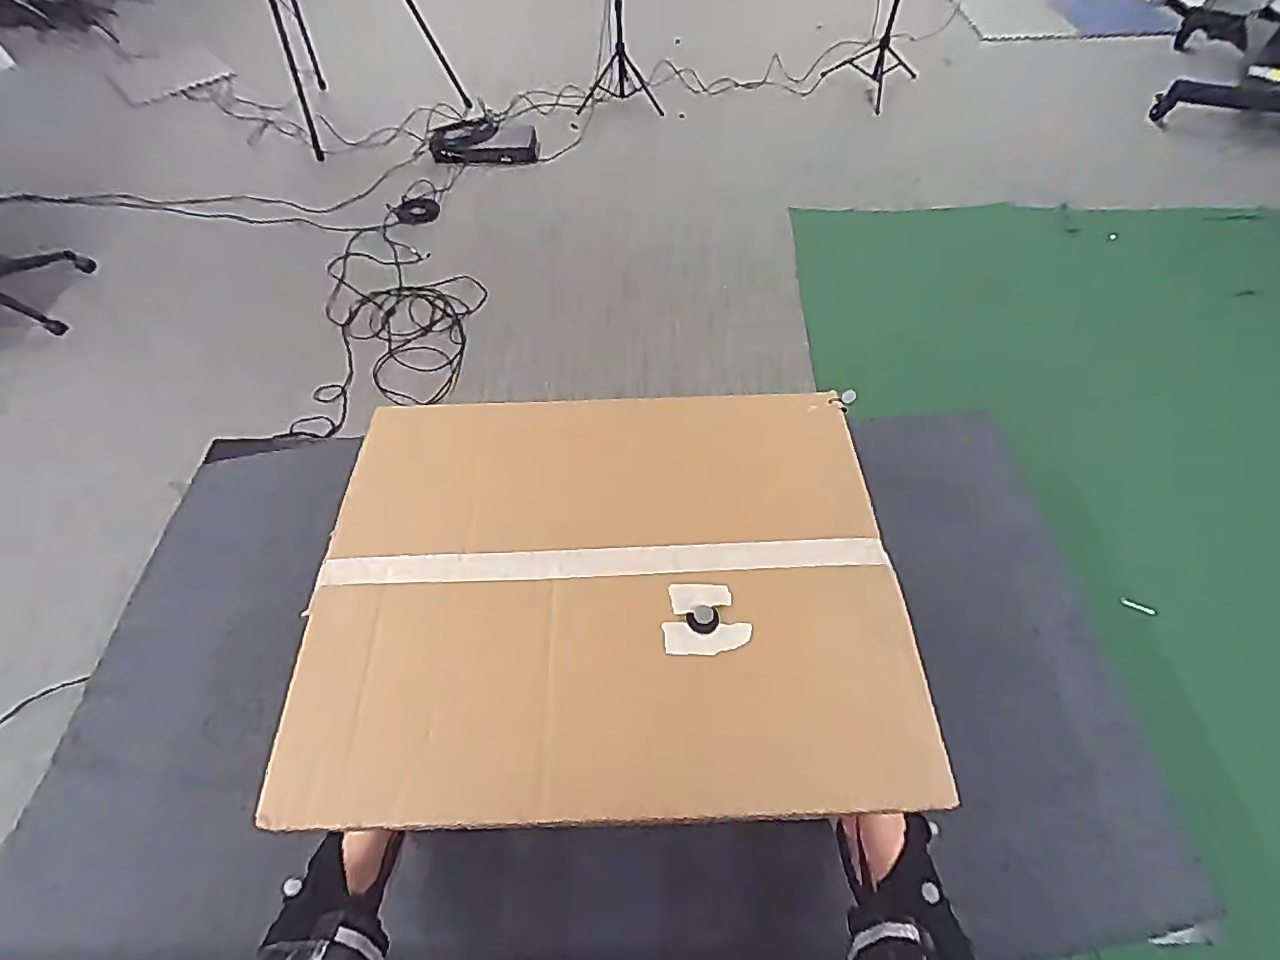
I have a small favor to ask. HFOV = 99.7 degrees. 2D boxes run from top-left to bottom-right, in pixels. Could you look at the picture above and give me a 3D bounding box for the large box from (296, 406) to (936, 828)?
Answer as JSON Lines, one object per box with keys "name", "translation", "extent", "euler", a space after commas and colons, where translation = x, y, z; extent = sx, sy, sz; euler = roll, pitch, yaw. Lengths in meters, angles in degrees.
{"name": "large box", "translation": [-0.019, 0.149, 0.534], "extent": [0.408, 0.320, 0.320], "euler": [-2, 58, 0]}
